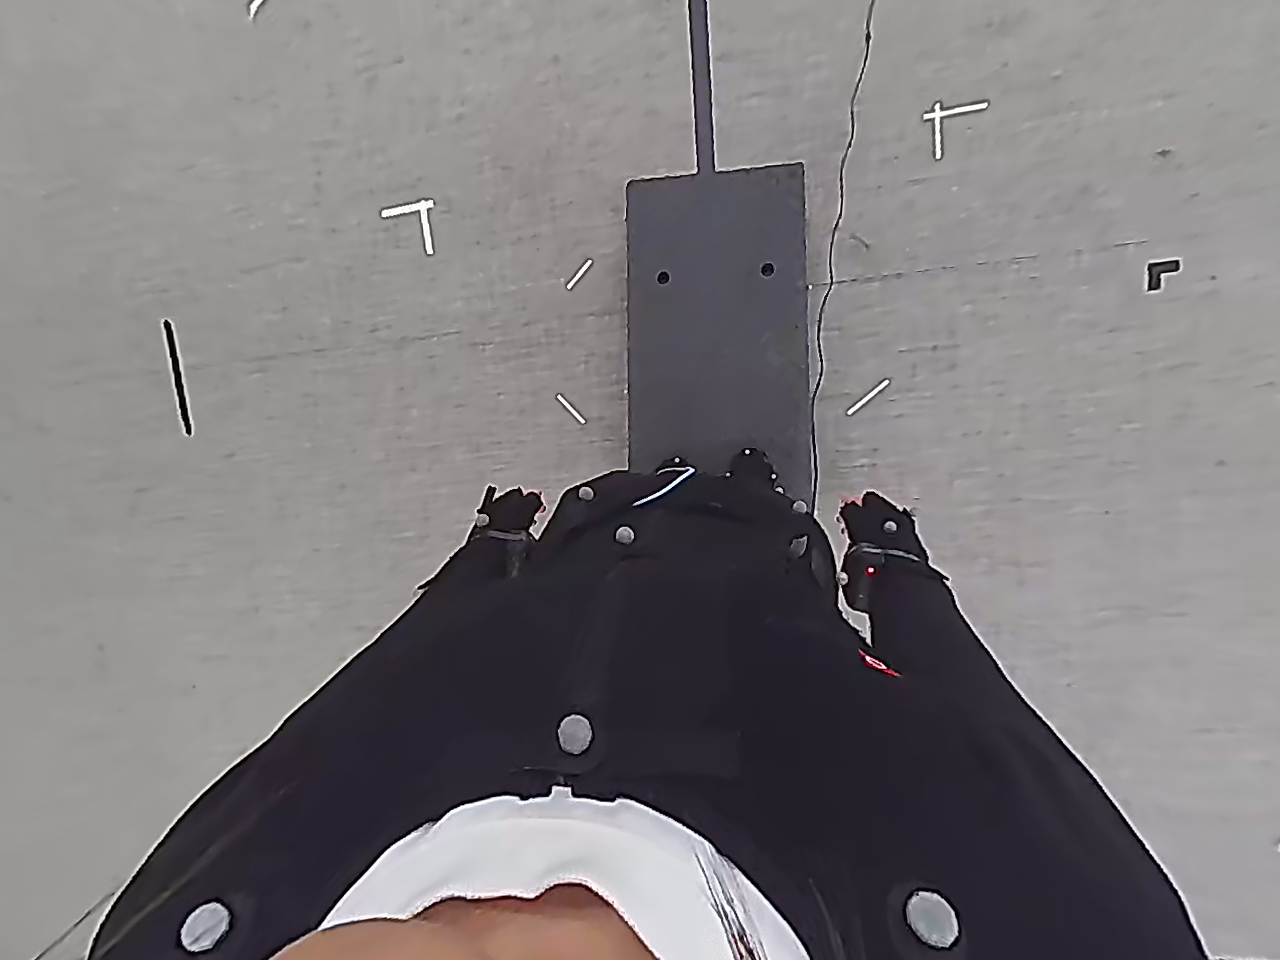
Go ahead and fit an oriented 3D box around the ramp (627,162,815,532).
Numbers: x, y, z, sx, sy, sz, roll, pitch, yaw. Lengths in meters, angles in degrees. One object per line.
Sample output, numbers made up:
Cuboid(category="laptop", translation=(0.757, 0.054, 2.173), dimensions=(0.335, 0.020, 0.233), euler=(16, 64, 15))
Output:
Cuboid(category="ramp", translation=(0.208, -0.358, 1.475), dimensions=(0.509, 0.206, 0.991), euler=(-3, 96, 11))
